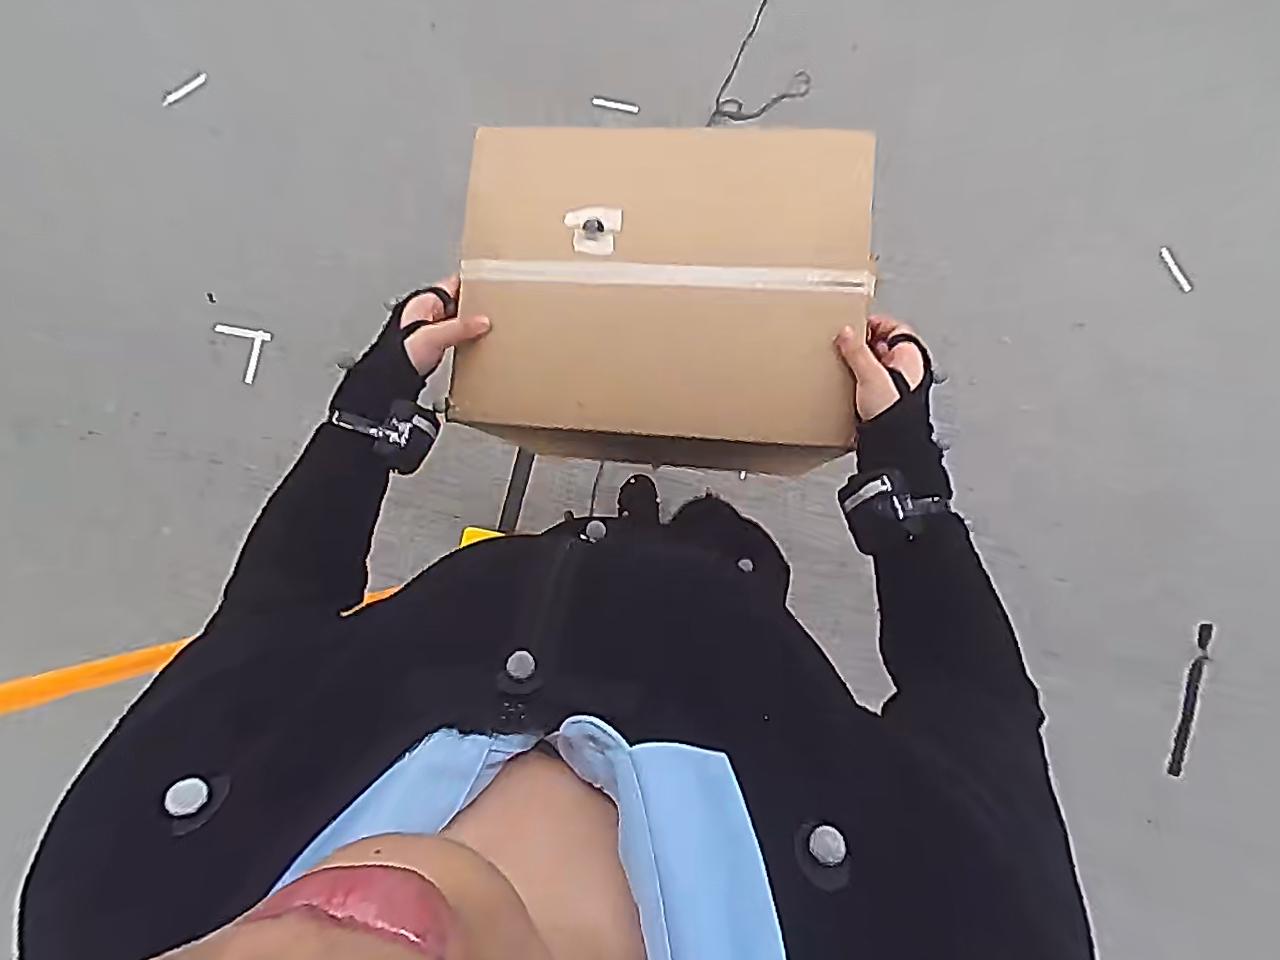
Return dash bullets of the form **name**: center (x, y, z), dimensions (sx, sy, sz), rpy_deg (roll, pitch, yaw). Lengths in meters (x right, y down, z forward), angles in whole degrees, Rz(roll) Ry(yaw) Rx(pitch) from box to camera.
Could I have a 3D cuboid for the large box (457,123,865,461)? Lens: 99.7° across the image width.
- **large box**: center (0.036, -0.198, 0.690), dimensions (0.408, 0.320, 0.320), rpy_deg (4, 85, 7)
